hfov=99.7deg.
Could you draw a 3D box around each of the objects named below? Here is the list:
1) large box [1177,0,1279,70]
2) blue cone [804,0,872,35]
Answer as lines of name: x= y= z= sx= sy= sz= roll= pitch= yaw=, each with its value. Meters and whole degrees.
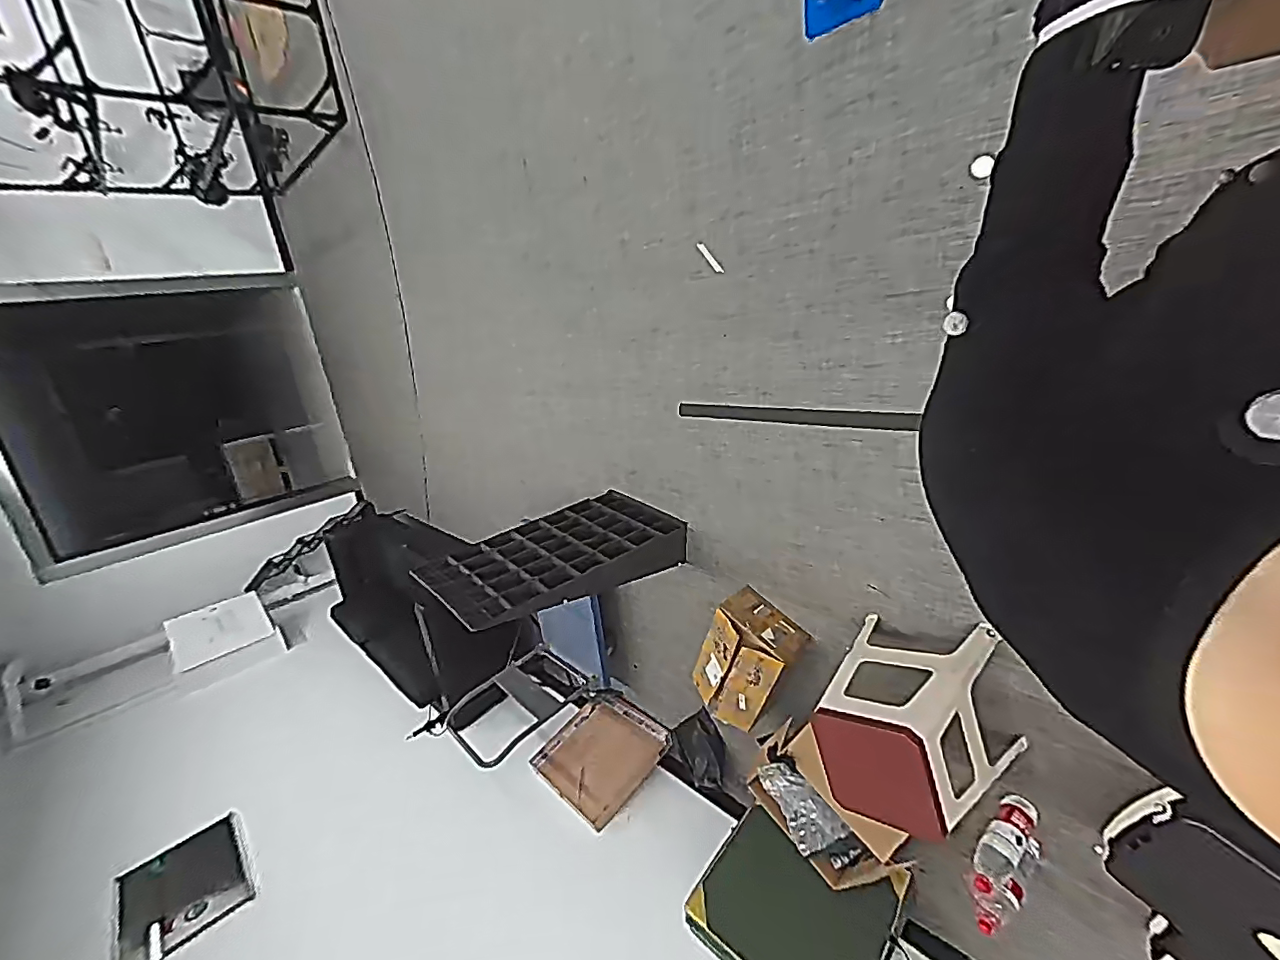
large box: x=0.549 y=-0.451 z=0.236 sx=0.408 sy=0.320 sz=0.320 roll=14 pitch=120 yaw=45
blue cone: x=0.353 y=-1.151 z=1.182 sx=0.192 sy=0.380 sz=0.193 roll=16 pitch=119 yaw=46
